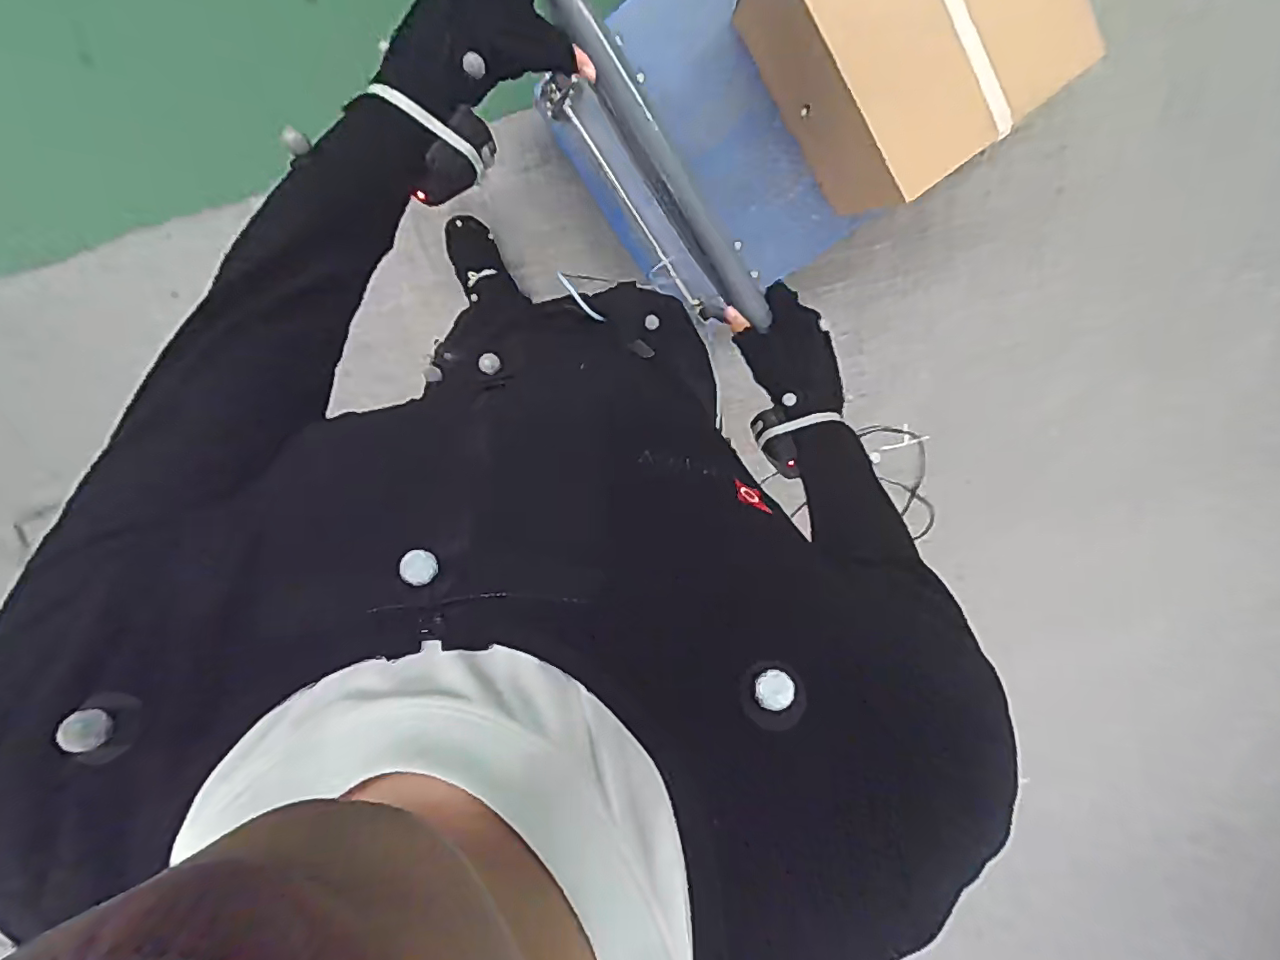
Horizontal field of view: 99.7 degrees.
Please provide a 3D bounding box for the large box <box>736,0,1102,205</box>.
[{"bbox_3d":[0.410,-0.726,0.872,0.320,0.320,0.408,-36,109,13],"label":"large box"}]
